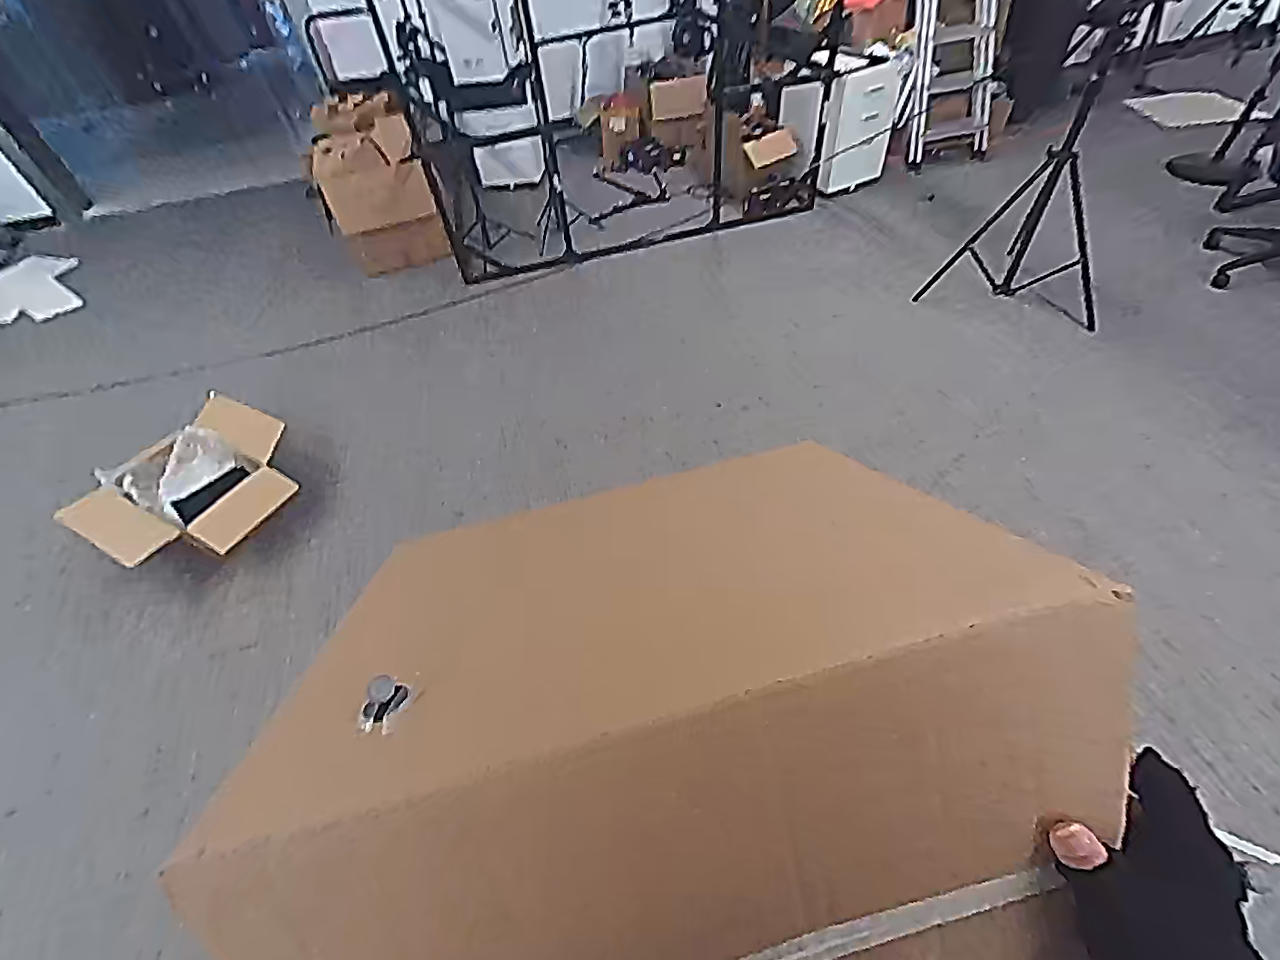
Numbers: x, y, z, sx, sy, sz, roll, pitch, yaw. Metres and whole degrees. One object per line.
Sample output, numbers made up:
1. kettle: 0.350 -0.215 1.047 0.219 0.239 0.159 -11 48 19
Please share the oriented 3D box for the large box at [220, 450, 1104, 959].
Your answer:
1. large box: 0.029 0.196 0.417 0.408 0.320 0.320 -15 18 -4
